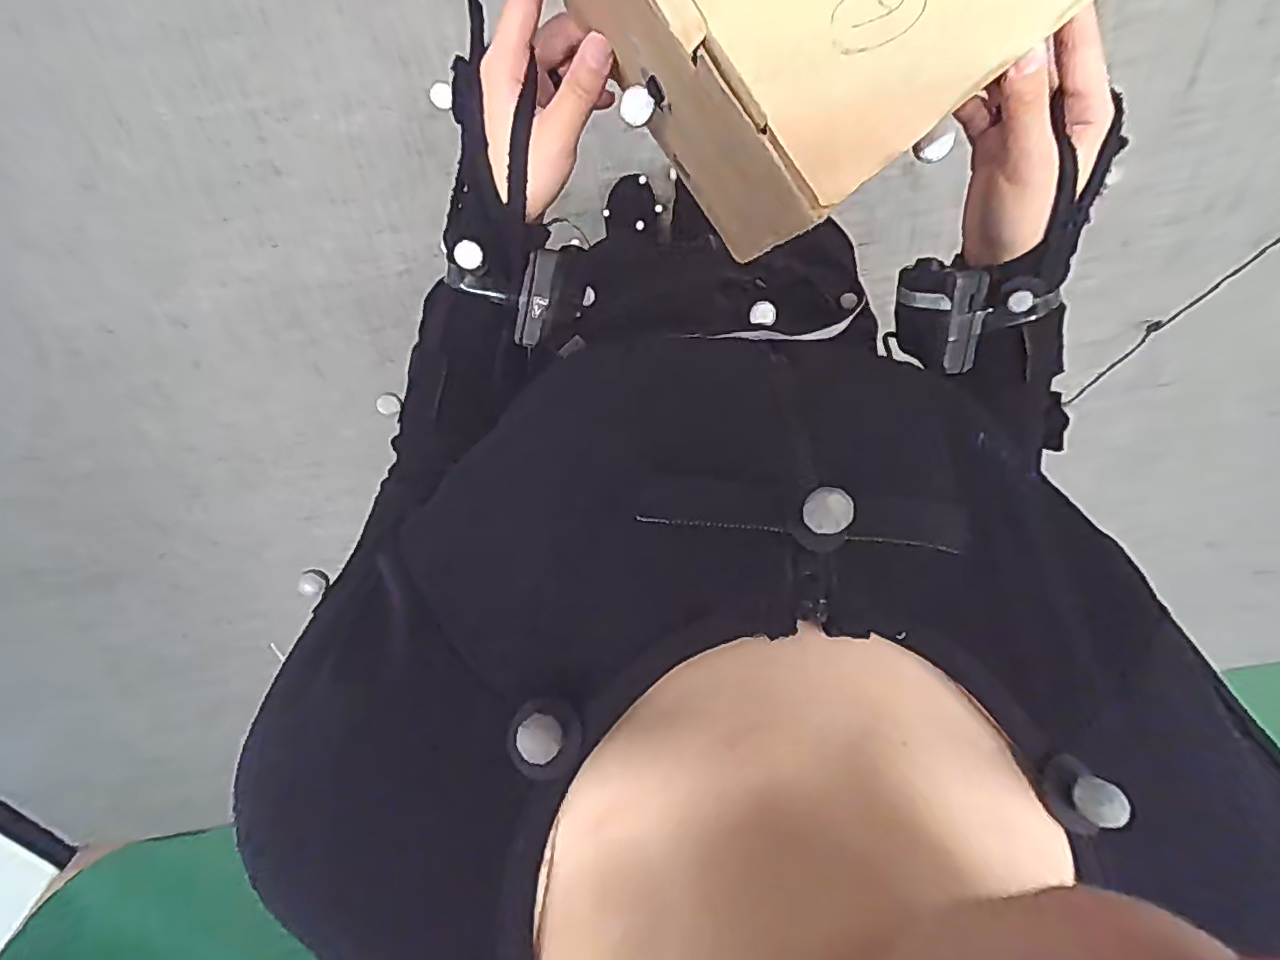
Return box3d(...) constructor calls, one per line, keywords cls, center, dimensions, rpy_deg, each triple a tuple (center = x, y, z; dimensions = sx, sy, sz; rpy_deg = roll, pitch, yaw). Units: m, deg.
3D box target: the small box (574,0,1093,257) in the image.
box3d(cls="small box", center=(0.072, -0.212, 0.208), dimensions=(0.179, 0.176, 0.168), rpy_deg=(-36, 102, 12))
